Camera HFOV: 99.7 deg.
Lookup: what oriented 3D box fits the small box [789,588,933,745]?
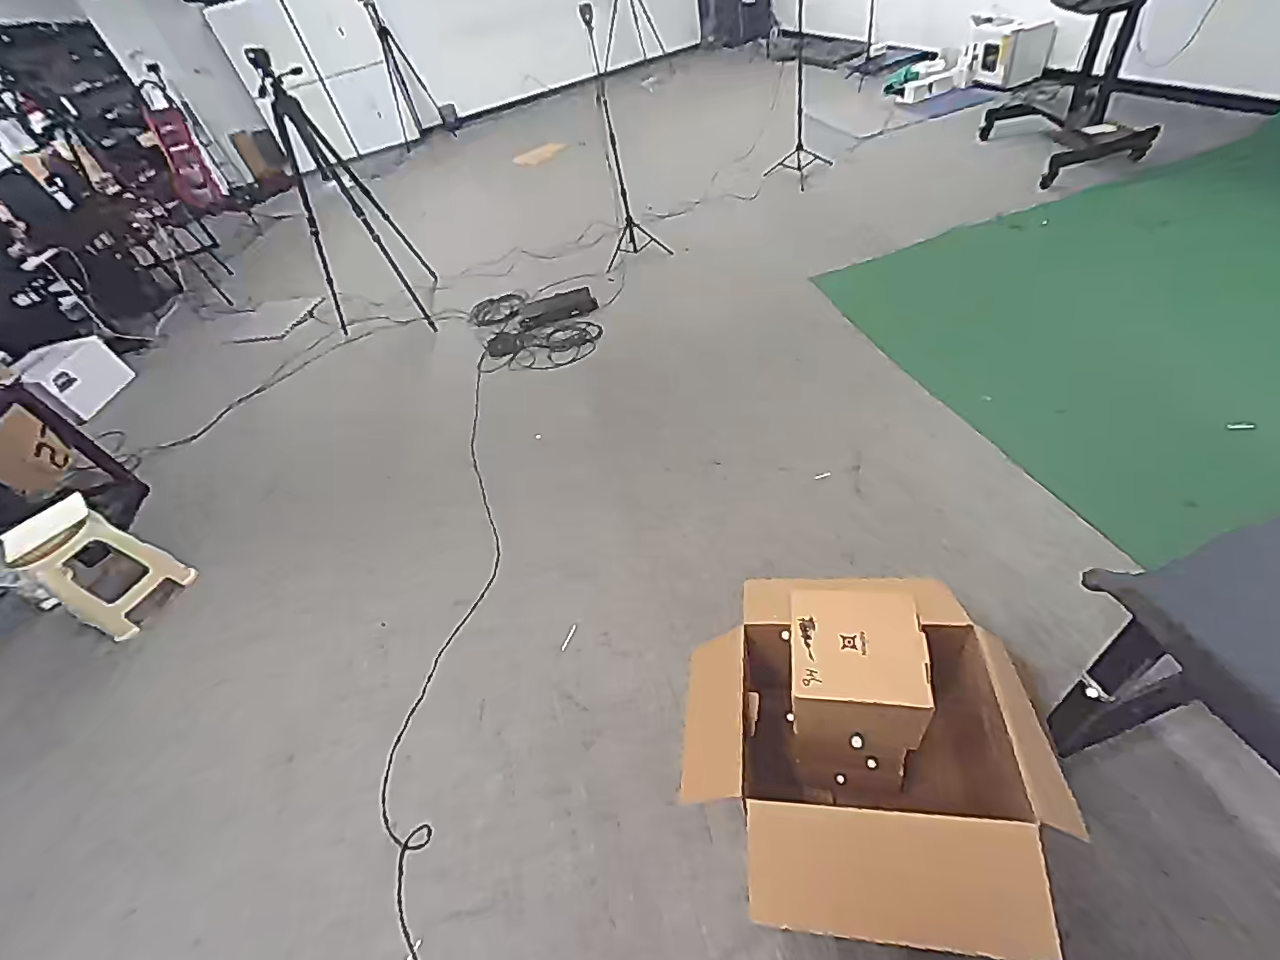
[{"bbox_3d":[0.316,0.280,0.809,0.179,0.176,0.168,-1,48,16],"label":"small box"}]
